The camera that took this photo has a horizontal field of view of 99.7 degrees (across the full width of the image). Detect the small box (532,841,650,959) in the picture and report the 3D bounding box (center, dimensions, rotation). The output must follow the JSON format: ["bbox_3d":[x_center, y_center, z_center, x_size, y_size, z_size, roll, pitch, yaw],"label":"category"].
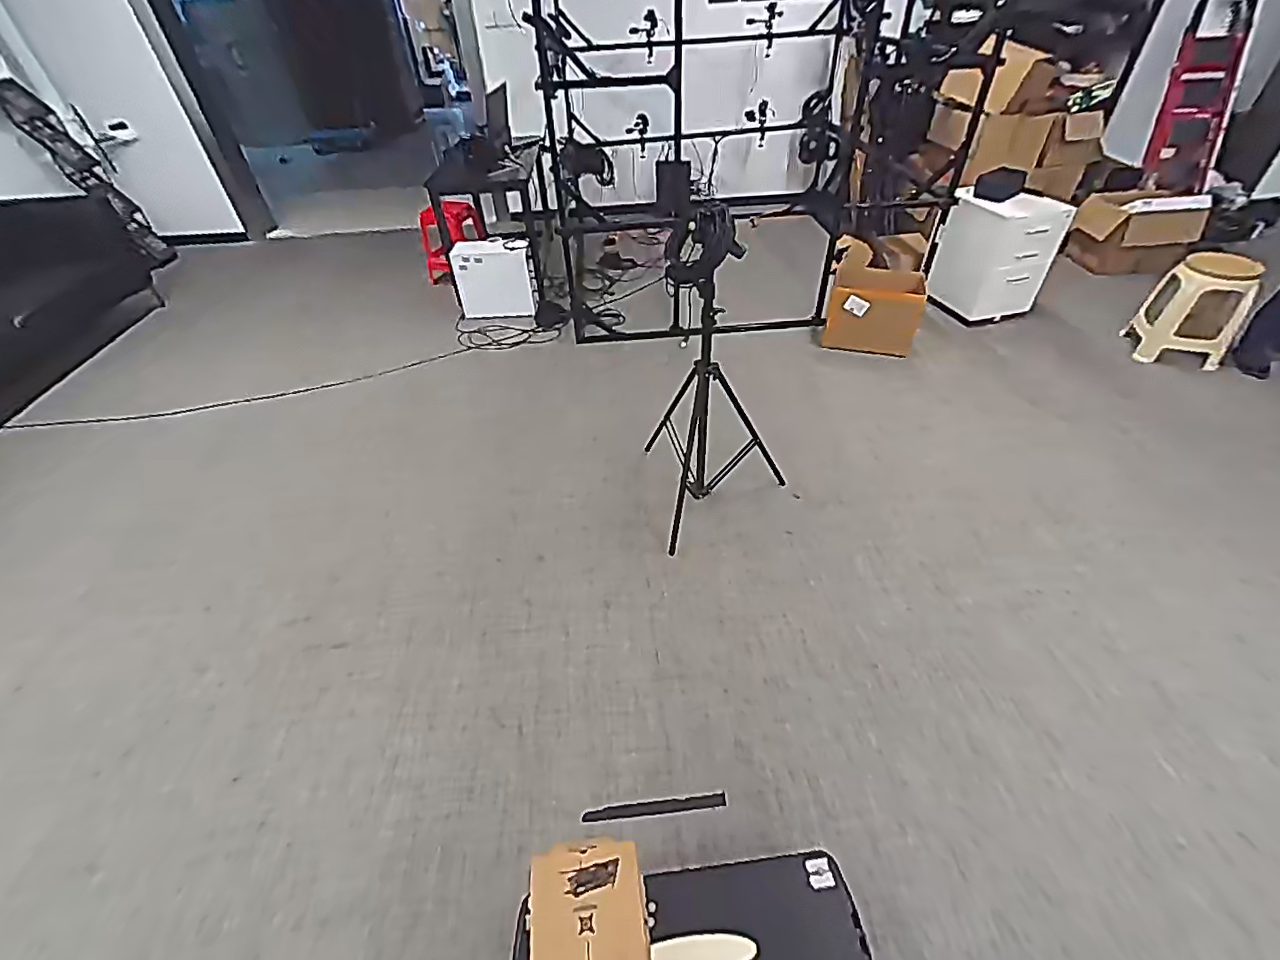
[{"bbox_3d":[-0.072,0.696,0.839,0.168,0.176,0.179,-7,42,-4],"label":"small box"}]
